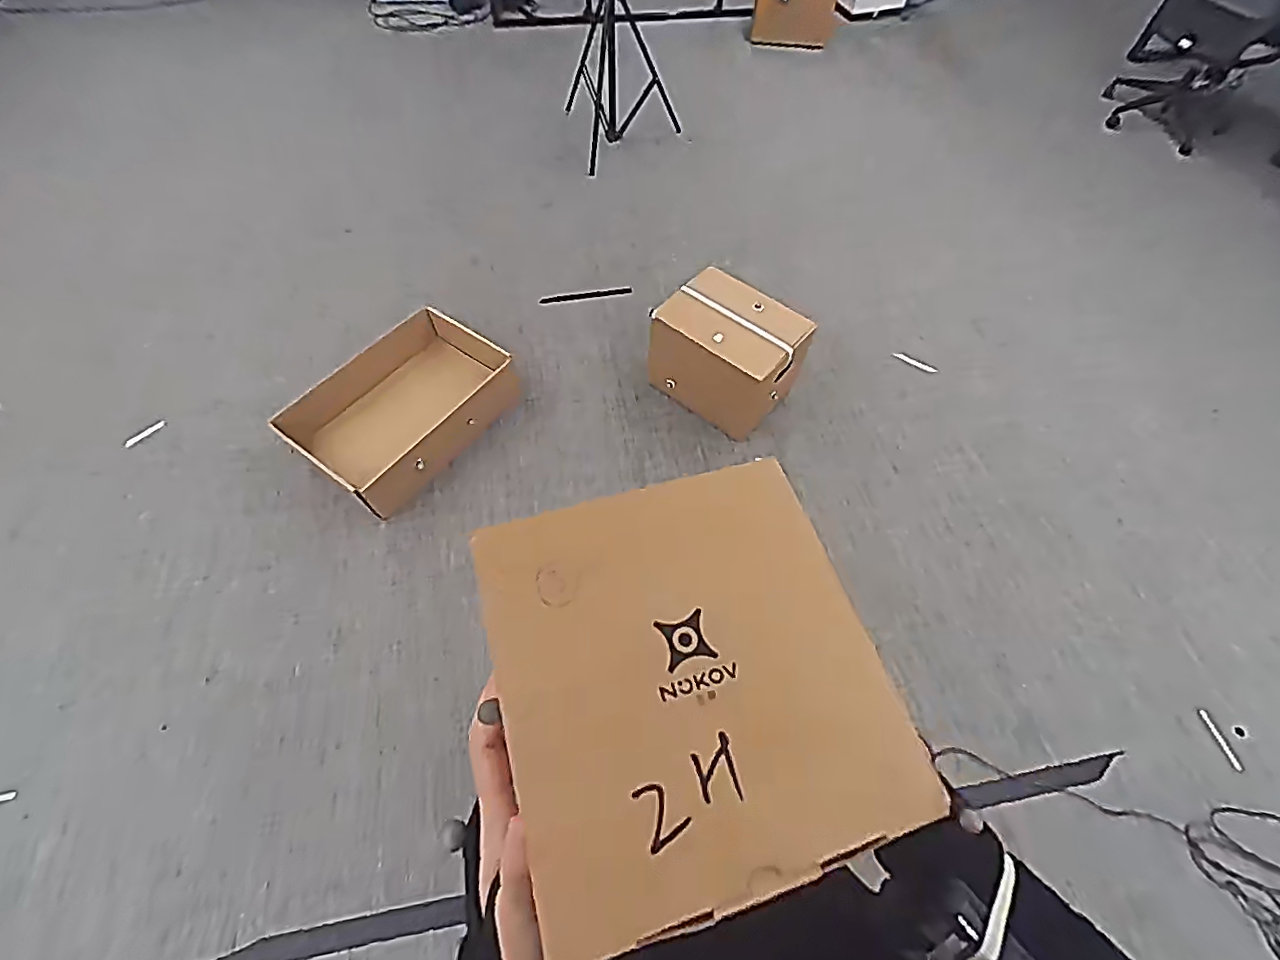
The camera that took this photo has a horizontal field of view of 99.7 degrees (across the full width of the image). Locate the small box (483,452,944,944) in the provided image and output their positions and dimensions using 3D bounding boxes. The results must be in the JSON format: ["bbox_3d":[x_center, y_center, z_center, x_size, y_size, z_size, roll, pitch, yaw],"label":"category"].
[{"bbox_3d":[0.018,0.113,0.312,0.168,0.176,0.179,-14,63,-11],"label":"small box"}]
